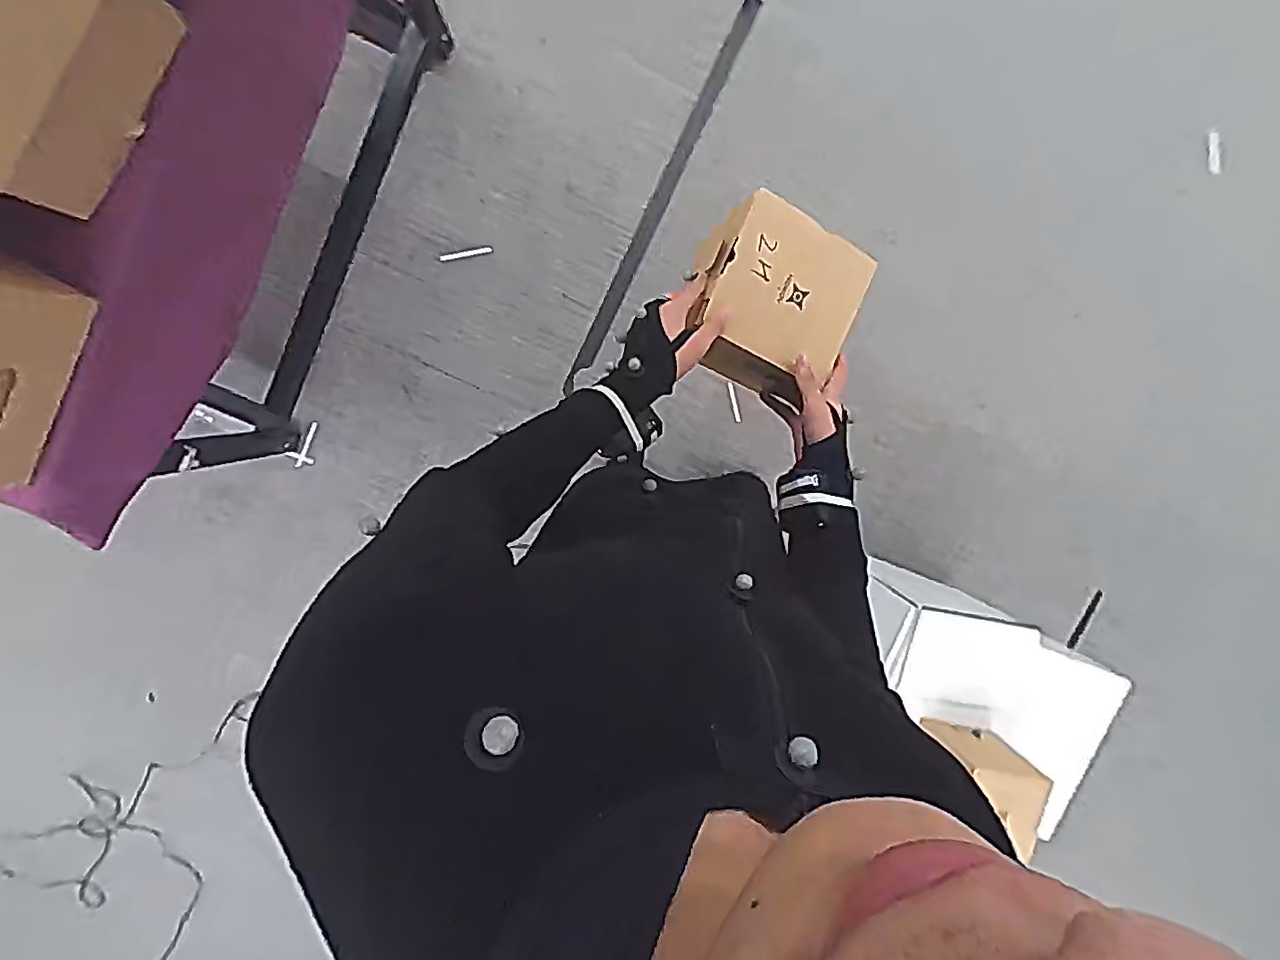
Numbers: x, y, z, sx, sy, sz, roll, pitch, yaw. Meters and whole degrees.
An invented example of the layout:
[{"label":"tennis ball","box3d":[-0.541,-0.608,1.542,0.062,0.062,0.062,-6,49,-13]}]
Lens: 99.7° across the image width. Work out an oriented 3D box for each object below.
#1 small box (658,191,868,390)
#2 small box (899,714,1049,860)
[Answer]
[{"label":"small box","box3d":[0.146,-0.226,0.697,0.179,0.176,0.168,23,92,-14]},{"label":"small box","box3d":[0.649,0.603,1.075,0.168,0.176,0.179,12,96,-7]}]
